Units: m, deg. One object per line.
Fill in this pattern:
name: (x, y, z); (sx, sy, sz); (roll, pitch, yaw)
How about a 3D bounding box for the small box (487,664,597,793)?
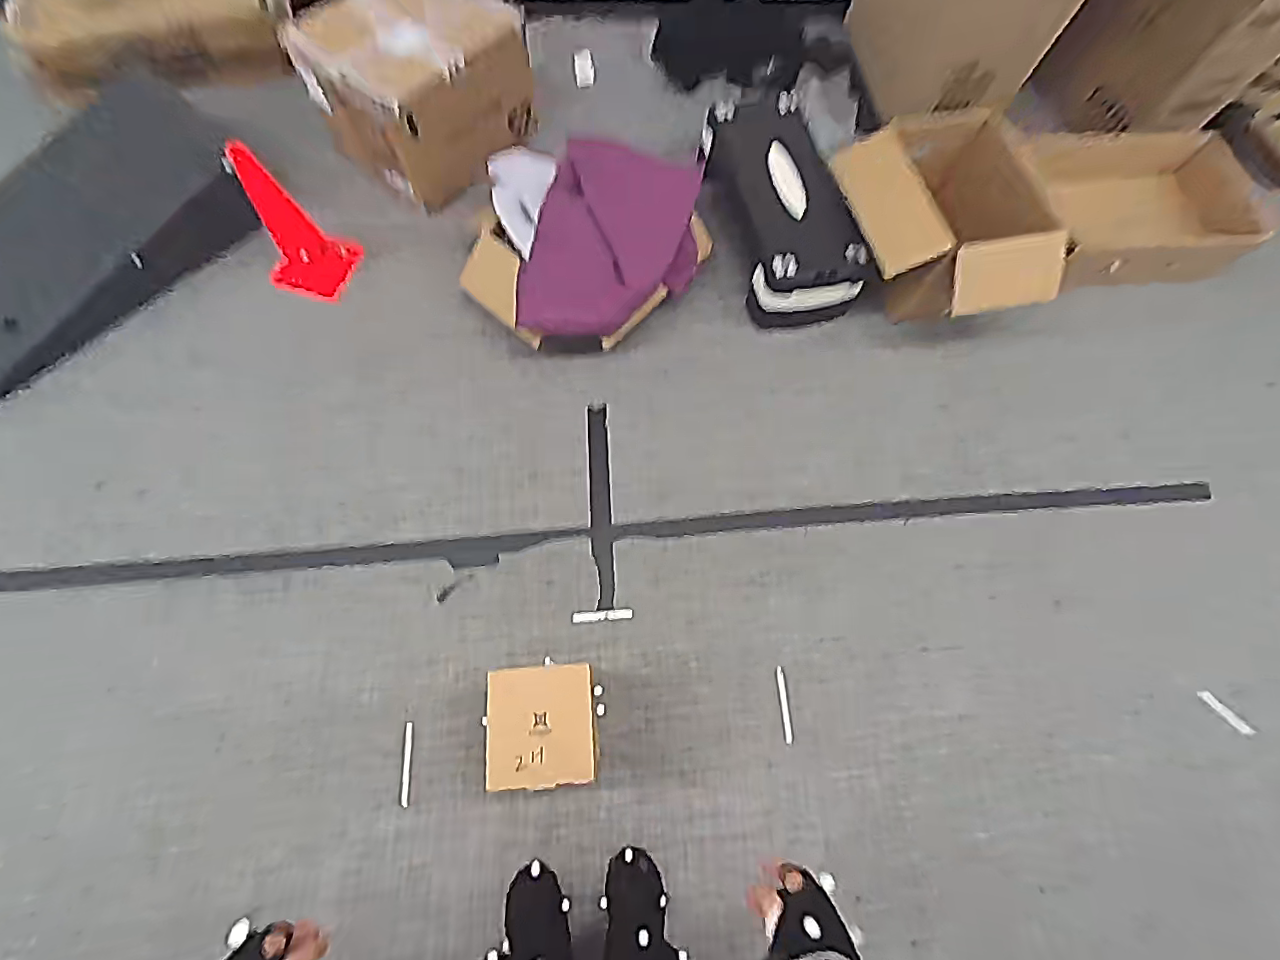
small box: (-0.159, 0.413, 0.919); (0.168, 0.176, 0.179); (-3, 70, -4)
